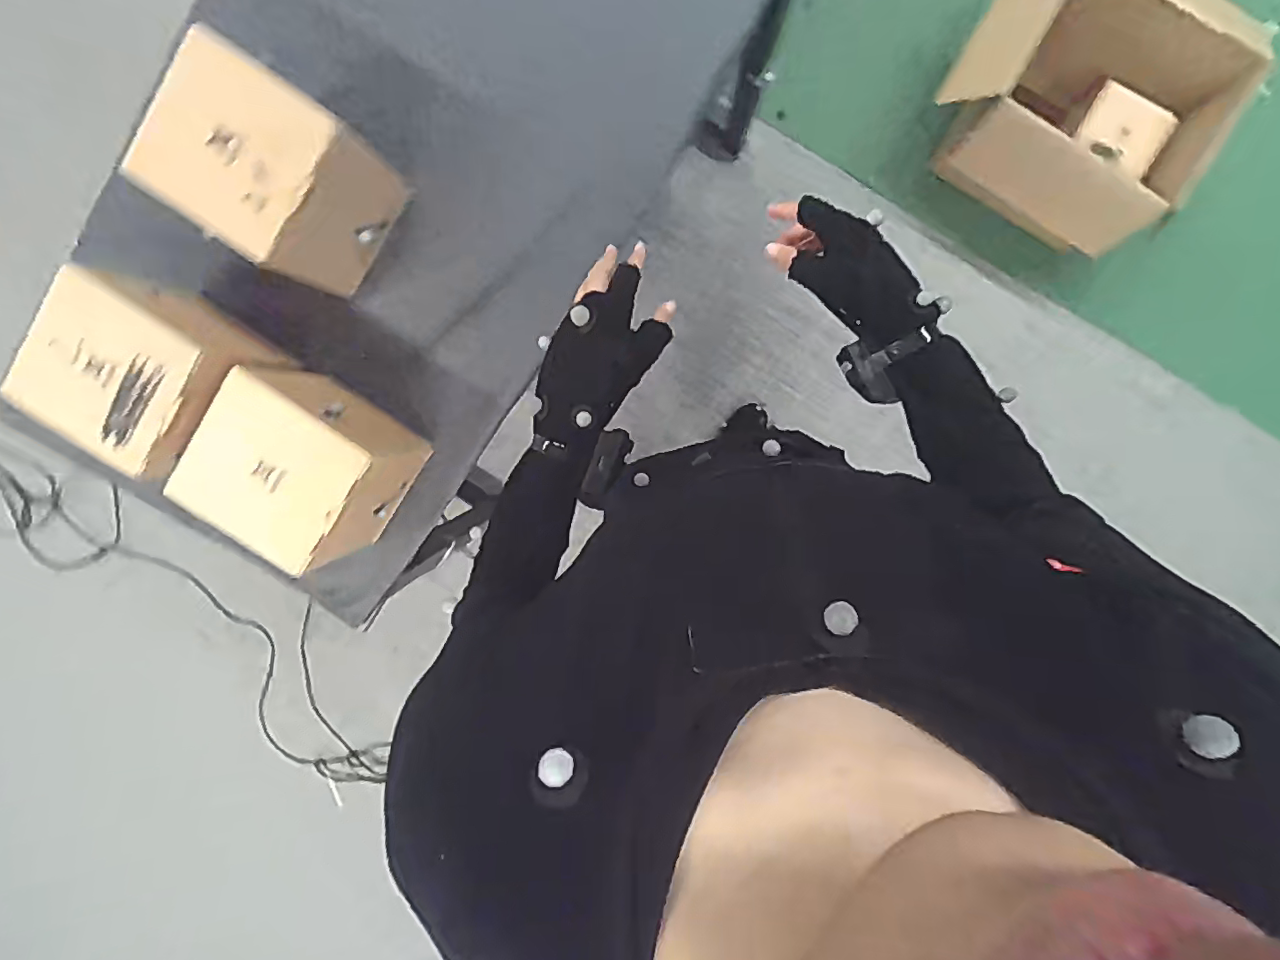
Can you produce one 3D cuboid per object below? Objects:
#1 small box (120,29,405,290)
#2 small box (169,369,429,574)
[{"bbox_3d":[-0.419,-0.347,0.630,0.179,0.176,0.168,34,97,-3],"label":"small box"},{"bbox_3d":[-0.403,-0.014,0.669,0.179,0.176,0.168,34,97,-2],"label":"small box"}]
